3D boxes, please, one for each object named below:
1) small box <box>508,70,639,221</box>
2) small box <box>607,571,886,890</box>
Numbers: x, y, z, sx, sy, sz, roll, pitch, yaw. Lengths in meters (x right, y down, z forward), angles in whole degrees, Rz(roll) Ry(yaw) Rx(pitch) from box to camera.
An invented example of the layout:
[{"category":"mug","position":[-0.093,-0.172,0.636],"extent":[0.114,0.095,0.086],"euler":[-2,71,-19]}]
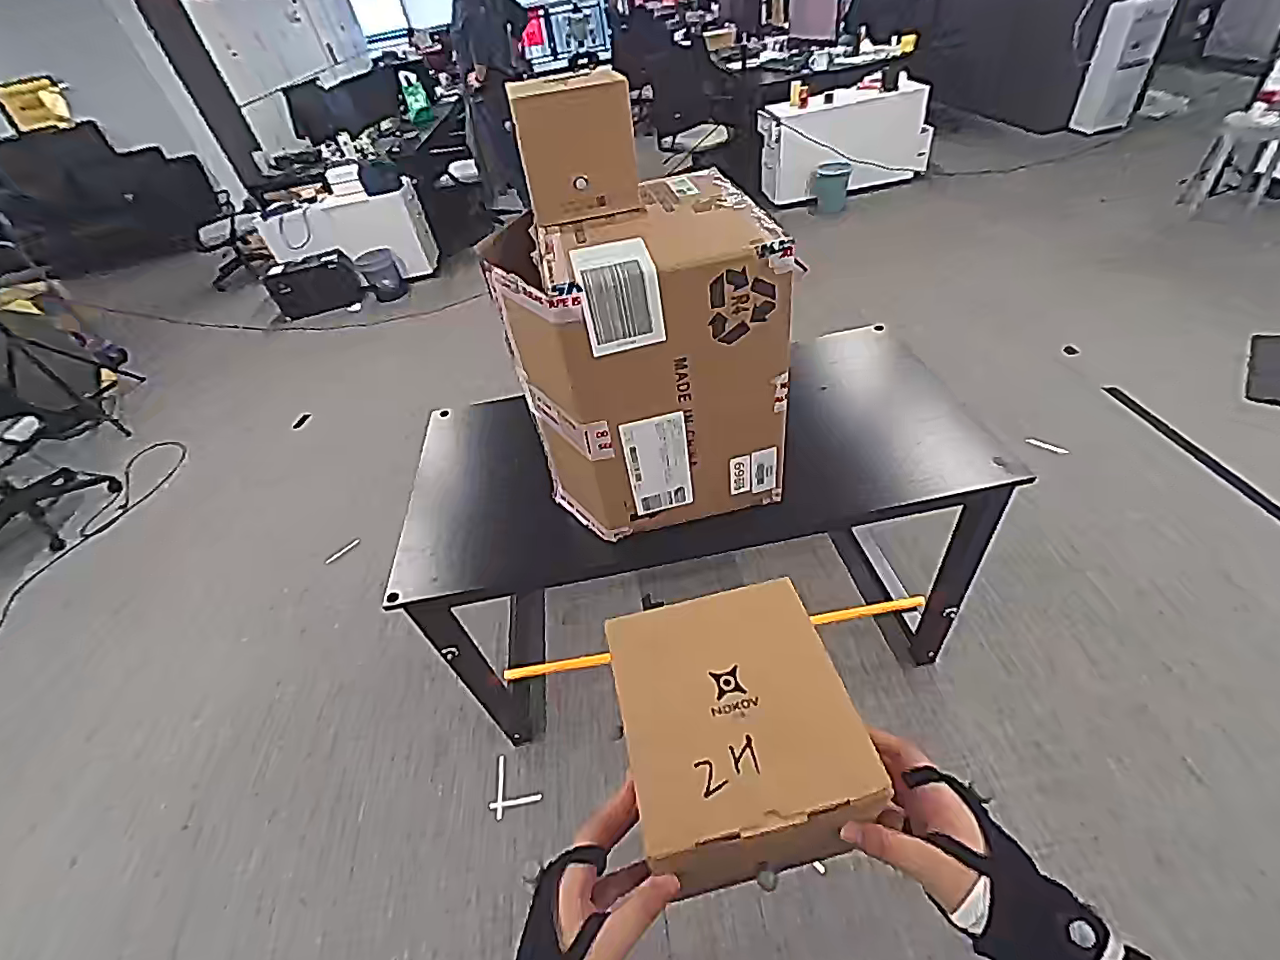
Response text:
[{"category":"small box","position":[-0.103,-0.521,0.843],"extent":[0.168,0.176,0.179],"euler":[-13,42,-5]},{"category":"small box","position":[0.073,0.209,0.458],"extent":[0.168,0.176,0.179],"euler":[-13,44,-4]}]
